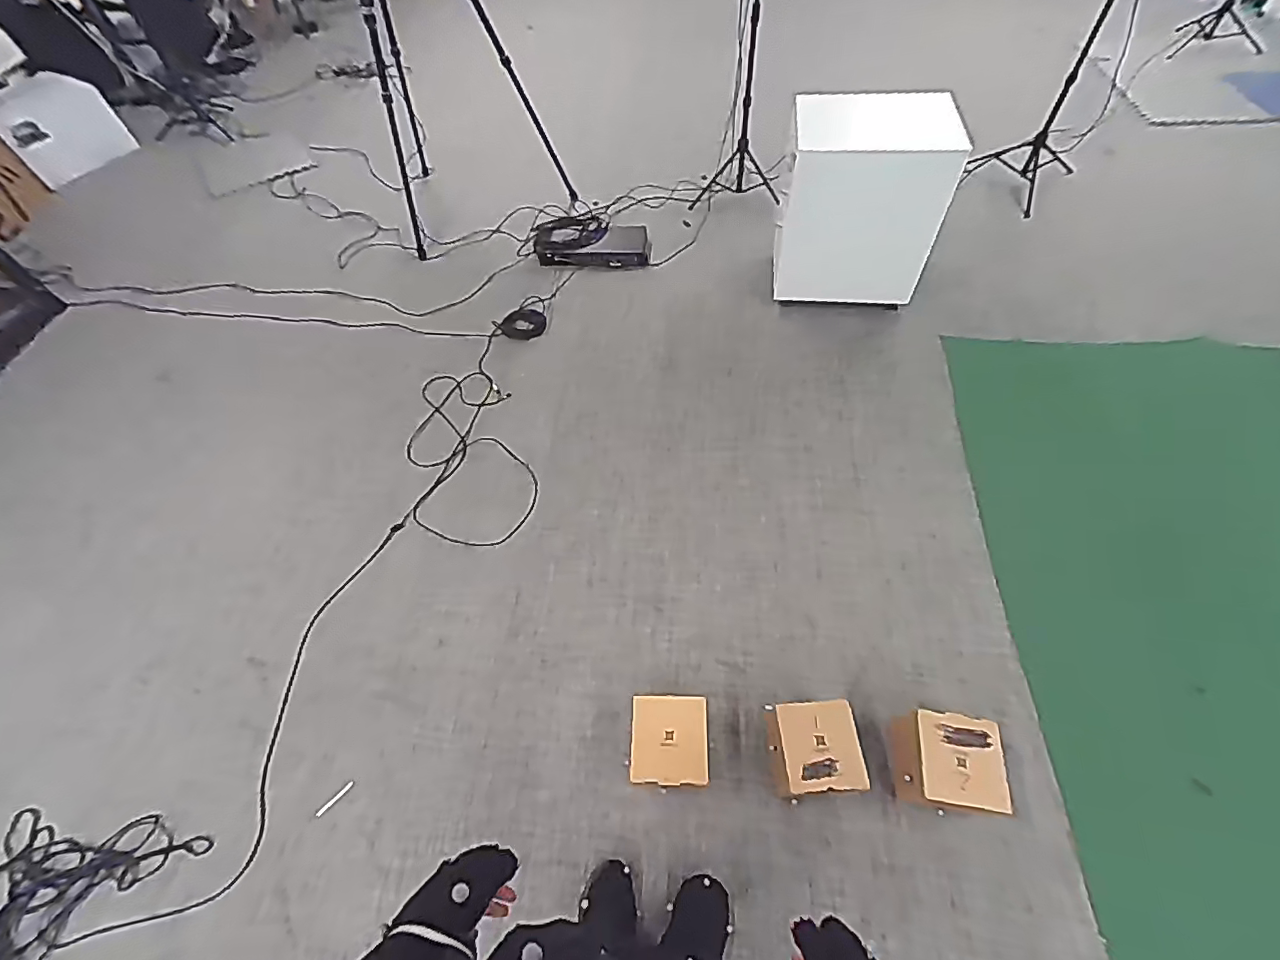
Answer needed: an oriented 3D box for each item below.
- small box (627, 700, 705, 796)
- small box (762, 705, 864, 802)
[{"bbox_3d":[0.060,0.612,1.231,0.168,0.176,0.179,-1,57,4],"label":"small box"},{"bbox_3d":[0.377,0.615,1.207,0.168,0.176,0.179,-4,55,1],"label":"small box"}]
